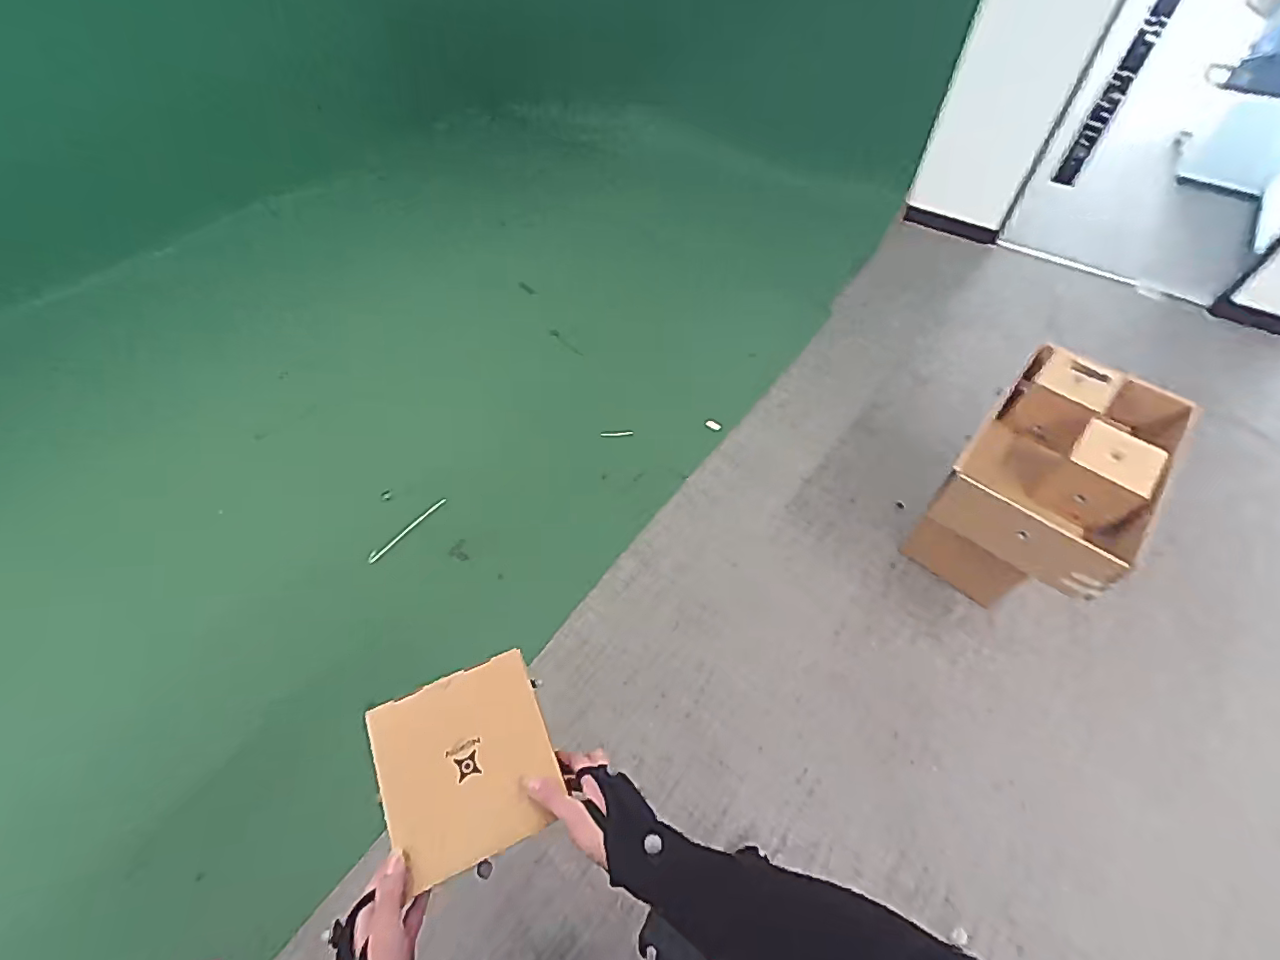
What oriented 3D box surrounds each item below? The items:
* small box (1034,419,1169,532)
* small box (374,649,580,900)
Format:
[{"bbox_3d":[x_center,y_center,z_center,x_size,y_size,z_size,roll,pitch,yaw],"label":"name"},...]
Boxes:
[{"bbox_3d":[1.105,-0.006,1.310,0.168,0.176,0.179,37,64,23],"label":"small box"},{"bbox_3d":[-0.170,0.318,0.603,0.168,0.176,0.179,-19,62,-16],"label":"small box"}]
